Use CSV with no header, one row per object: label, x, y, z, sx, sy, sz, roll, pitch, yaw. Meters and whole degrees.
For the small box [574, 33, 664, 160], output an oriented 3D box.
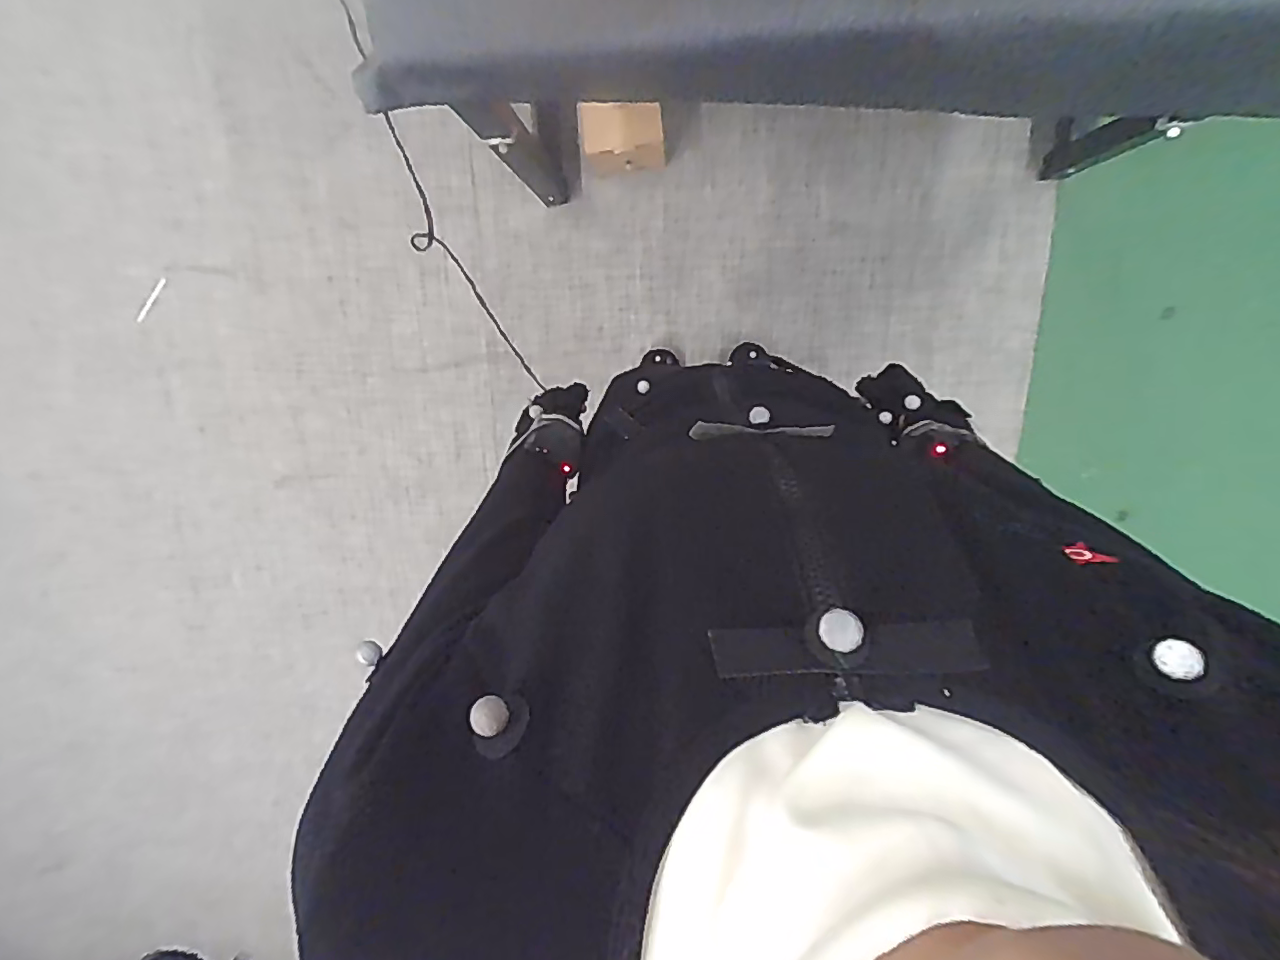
small box,-0.037,-0.806,1.159,0.168,0.176,0.179,-5,106,4
